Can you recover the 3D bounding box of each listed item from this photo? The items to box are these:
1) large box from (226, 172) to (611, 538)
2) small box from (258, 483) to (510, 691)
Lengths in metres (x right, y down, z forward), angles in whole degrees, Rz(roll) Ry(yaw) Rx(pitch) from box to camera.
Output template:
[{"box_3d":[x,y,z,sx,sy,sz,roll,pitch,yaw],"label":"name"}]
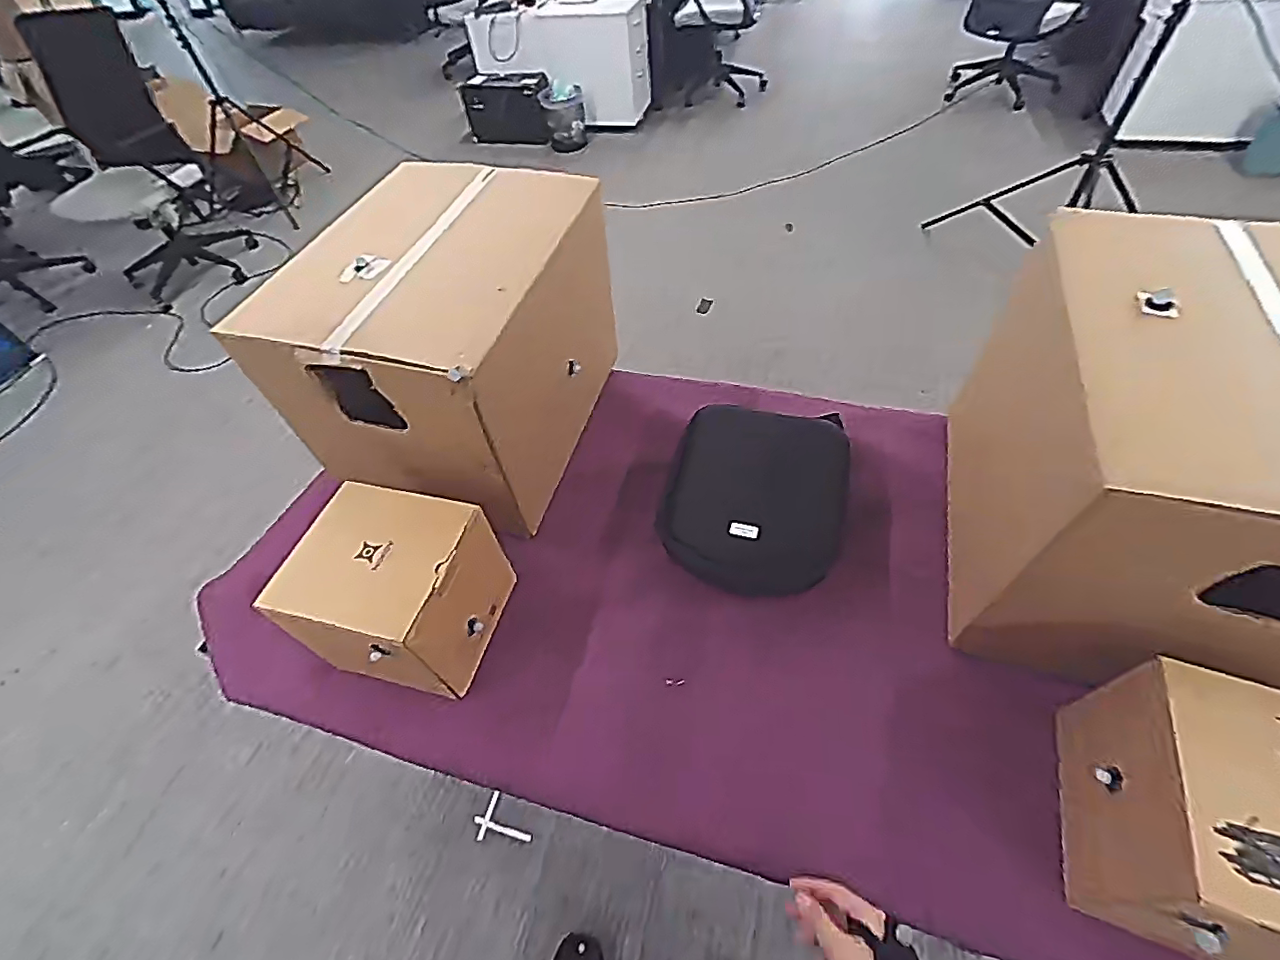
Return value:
[{"box_3d":[-0.248,-0.184,0.785,0.320,0.320,0.408,10,56,12],"label":"large box"},{"box_3d":[-0.277,0.128,0.633,0.179,0.176,0.168,9,52,11],"label":"small box"}]
